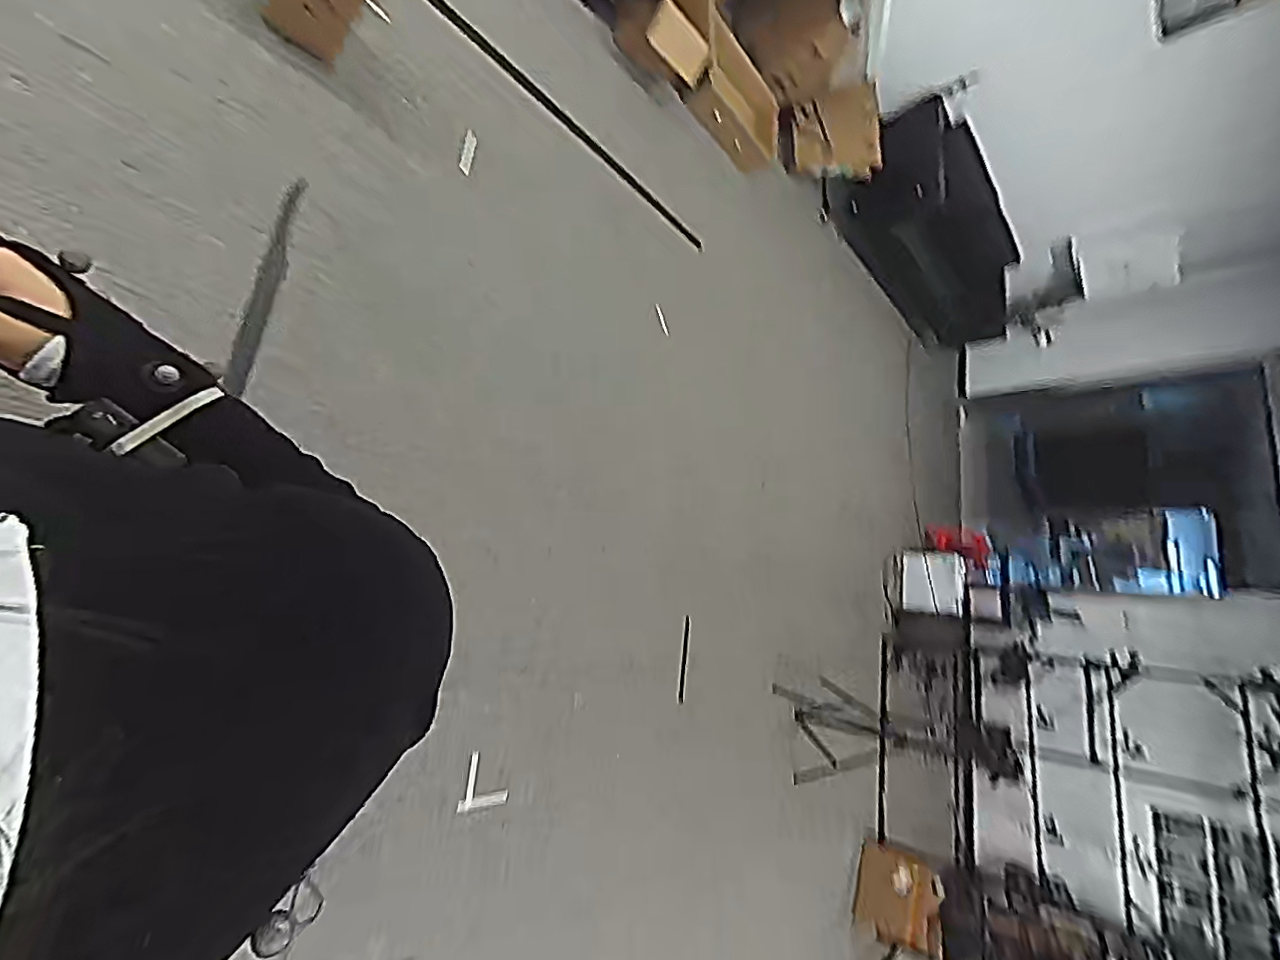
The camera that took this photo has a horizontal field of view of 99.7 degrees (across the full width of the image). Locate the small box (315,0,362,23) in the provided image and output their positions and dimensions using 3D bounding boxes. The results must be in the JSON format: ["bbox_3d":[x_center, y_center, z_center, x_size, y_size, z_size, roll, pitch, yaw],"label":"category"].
[{"bbox_3d":[-0.714,-1.238,1.255,0.168,0.176,0.179,21,72,-45],"label":"small box"}]

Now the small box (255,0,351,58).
[{"bbox_3d":[-0.839,-1.229,1.362,0.179,0.176,0.168,16,75,-46],"label":"small box"}]
